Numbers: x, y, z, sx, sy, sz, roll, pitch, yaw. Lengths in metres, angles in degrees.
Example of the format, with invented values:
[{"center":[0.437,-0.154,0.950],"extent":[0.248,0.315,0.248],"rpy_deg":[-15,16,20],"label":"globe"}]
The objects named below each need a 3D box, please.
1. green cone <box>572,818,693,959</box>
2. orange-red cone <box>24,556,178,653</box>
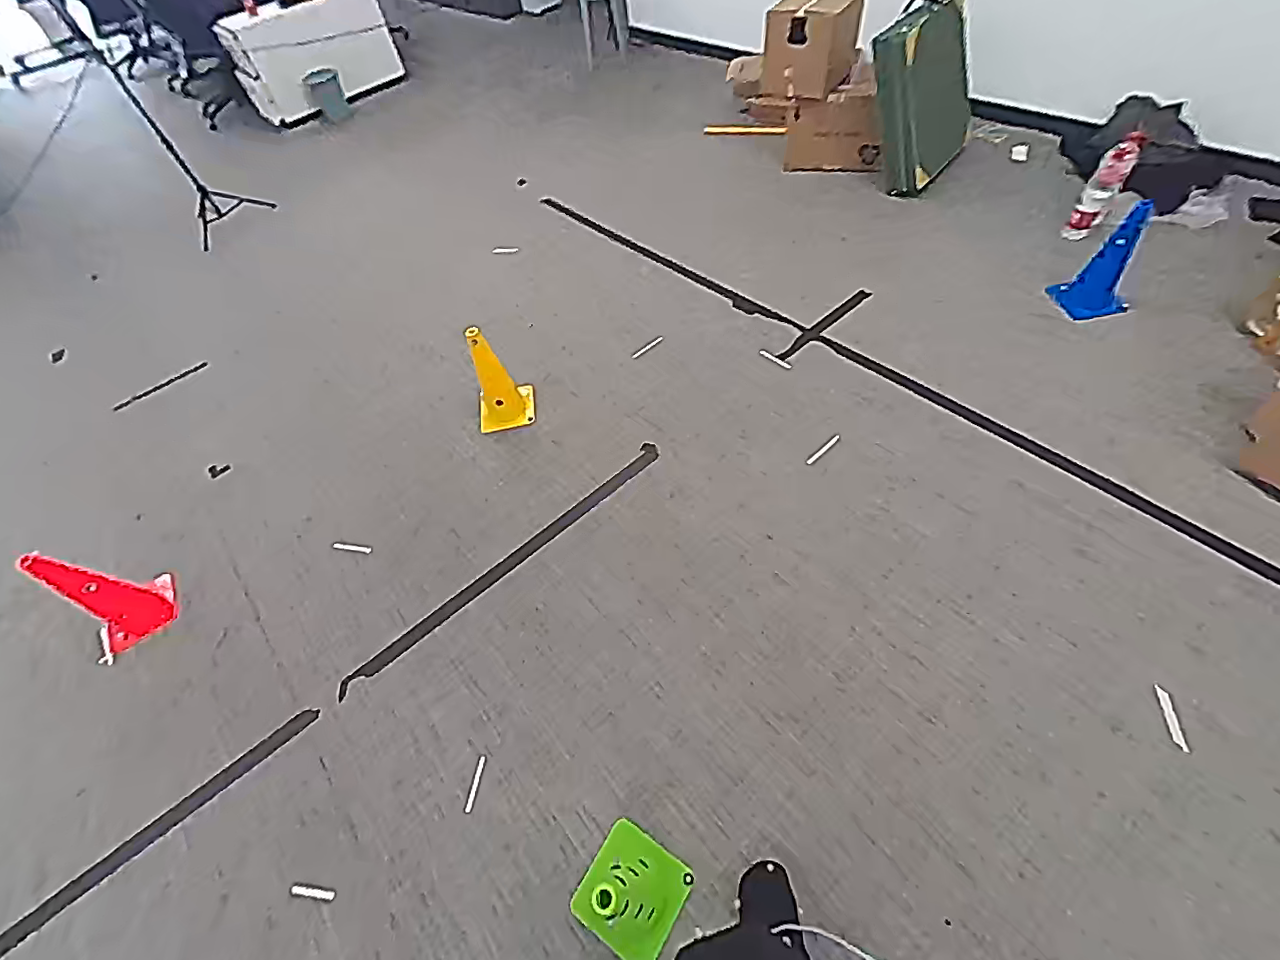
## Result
[{"center":[-0.041,0.757,0.989],"extent":[0.200,0.368,0.202],"rpy_deg":[24,63,25],"label":"green cone"},{"center":[-1.570,0.316,1.553],"extent":[0.199,0.360,0.198],"rpy_deg":[-31,56,-15],"label":"orange-red cone"}]
